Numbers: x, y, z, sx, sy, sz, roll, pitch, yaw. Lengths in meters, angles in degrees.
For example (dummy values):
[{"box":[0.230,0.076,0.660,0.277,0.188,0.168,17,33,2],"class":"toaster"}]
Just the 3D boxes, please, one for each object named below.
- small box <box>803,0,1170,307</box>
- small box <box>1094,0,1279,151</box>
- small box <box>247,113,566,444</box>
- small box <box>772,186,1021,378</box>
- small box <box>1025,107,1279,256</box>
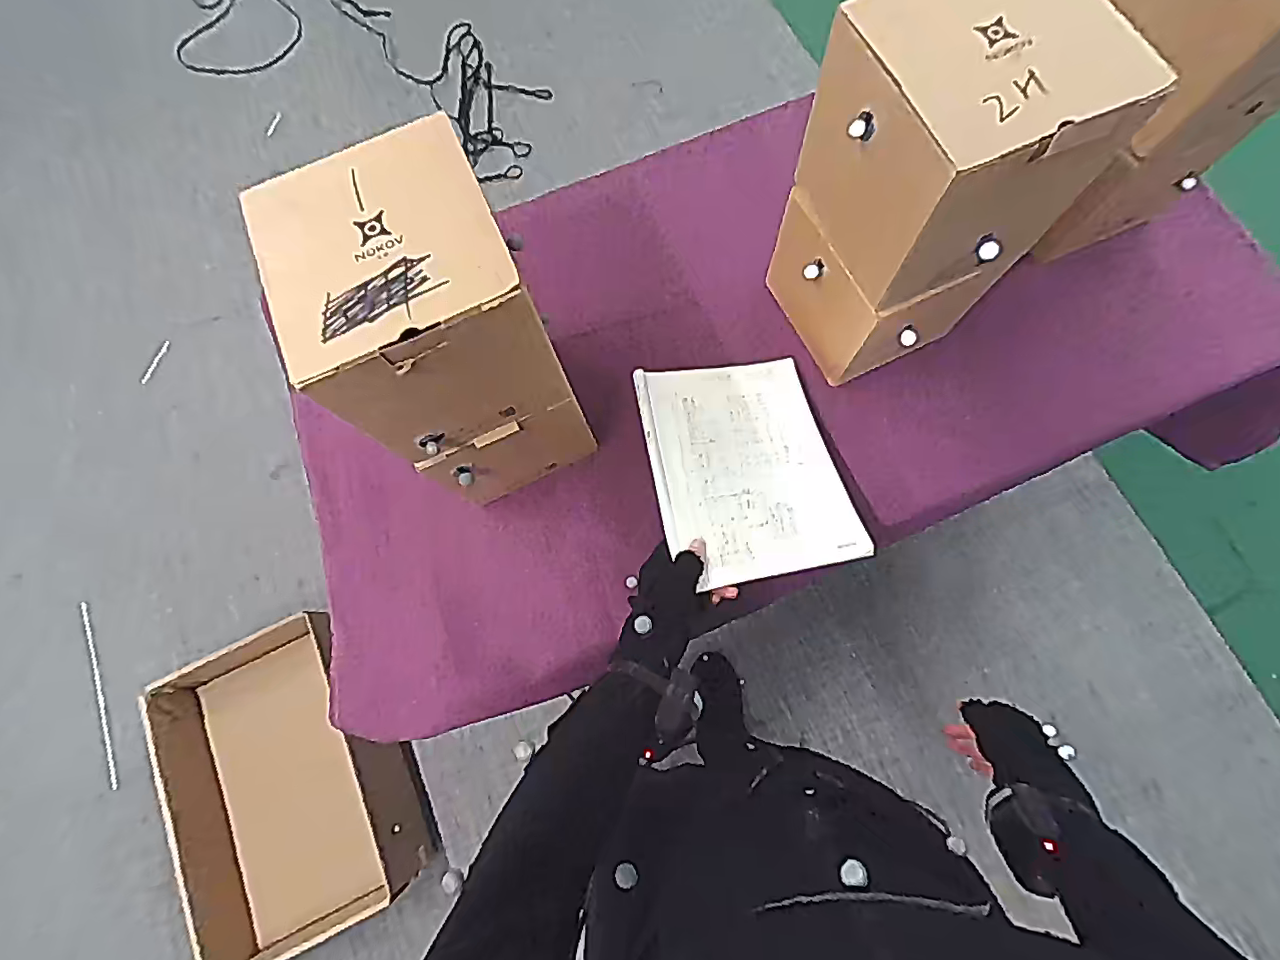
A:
[{"box":[0.262,-0.287,0.465,0.168,0.176,0.179,-22,75,-2],"class":"small box"},{"box":[0.535,-0.435,0.485,0.168,0.176,0.179,-22,76,-3],"class":"small box"},{"box":[-0.176,-0.147,0.454,0.168,0.176,0.179,-23,73,-3],"class":"small box"},{"box":[0.273,-0.238,0.623,0.168,0.176,0.179,-25,75,-3],"class":"small box"},{"box":[0.551,-0.398,0.644,0.168,0.176,0.179,-21,75,-2],"class":"small box"}]
